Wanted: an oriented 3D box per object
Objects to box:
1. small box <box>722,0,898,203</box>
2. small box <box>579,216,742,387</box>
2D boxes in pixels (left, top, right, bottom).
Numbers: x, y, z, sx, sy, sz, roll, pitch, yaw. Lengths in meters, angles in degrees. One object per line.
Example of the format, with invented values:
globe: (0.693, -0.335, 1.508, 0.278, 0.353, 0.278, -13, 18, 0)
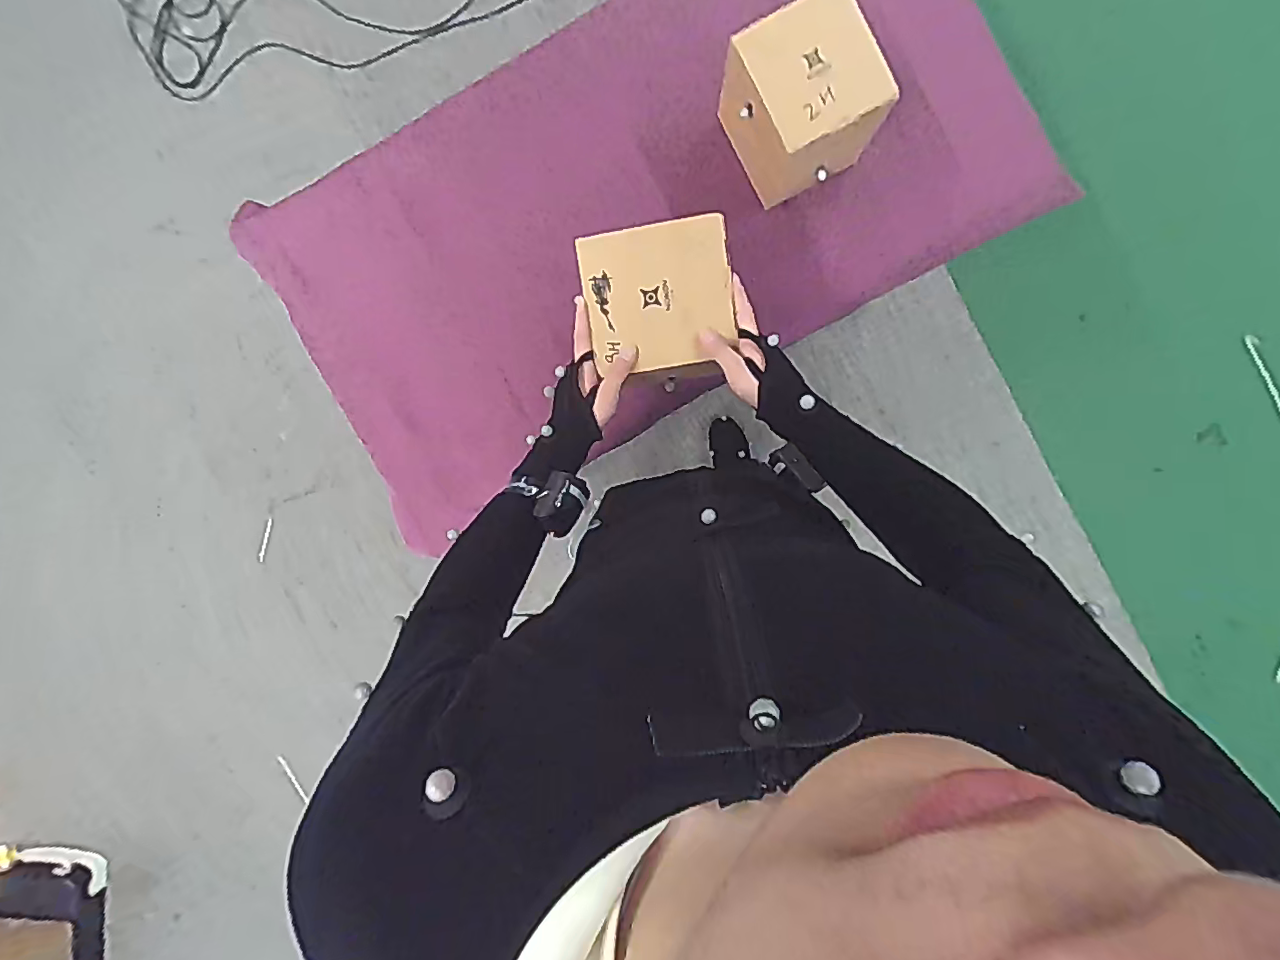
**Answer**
small box: (0.232, -0.553, 0.792, 0.168, 0.176, 0.179, -27, 91, 4)
small box: (0.027, -0.218, 0.705, 0.179, 0.176, 0.168, -7, 94, 4)
